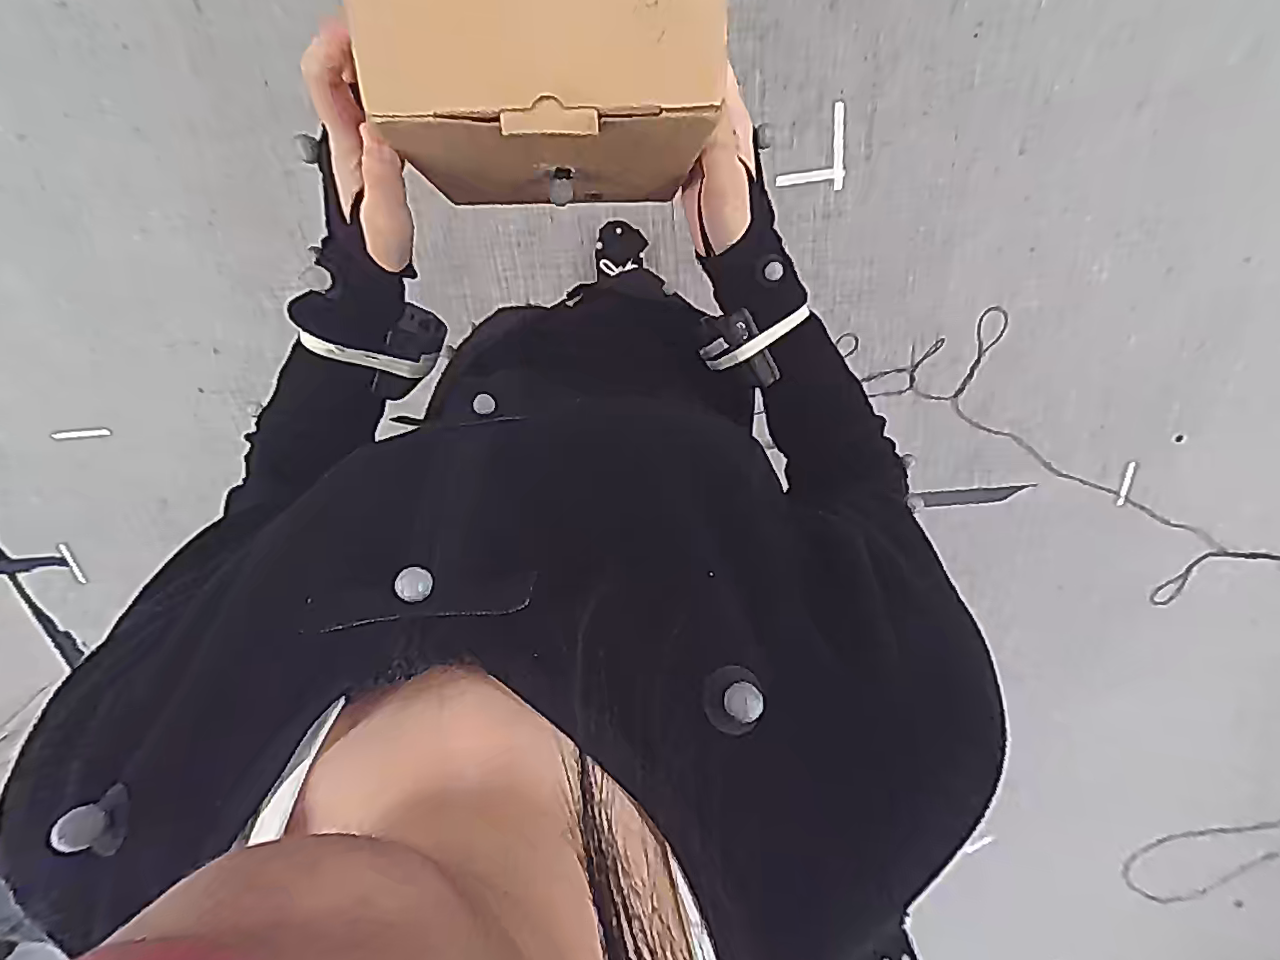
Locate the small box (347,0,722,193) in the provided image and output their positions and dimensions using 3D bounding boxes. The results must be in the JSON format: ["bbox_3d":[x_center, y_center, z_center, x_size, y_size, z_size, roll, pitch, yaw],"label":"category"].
[{"bbox_3d":[-0.051,-0.270,0.301,0.168,0.176,0.179,-4,106,-4],"label":"small box"}]
